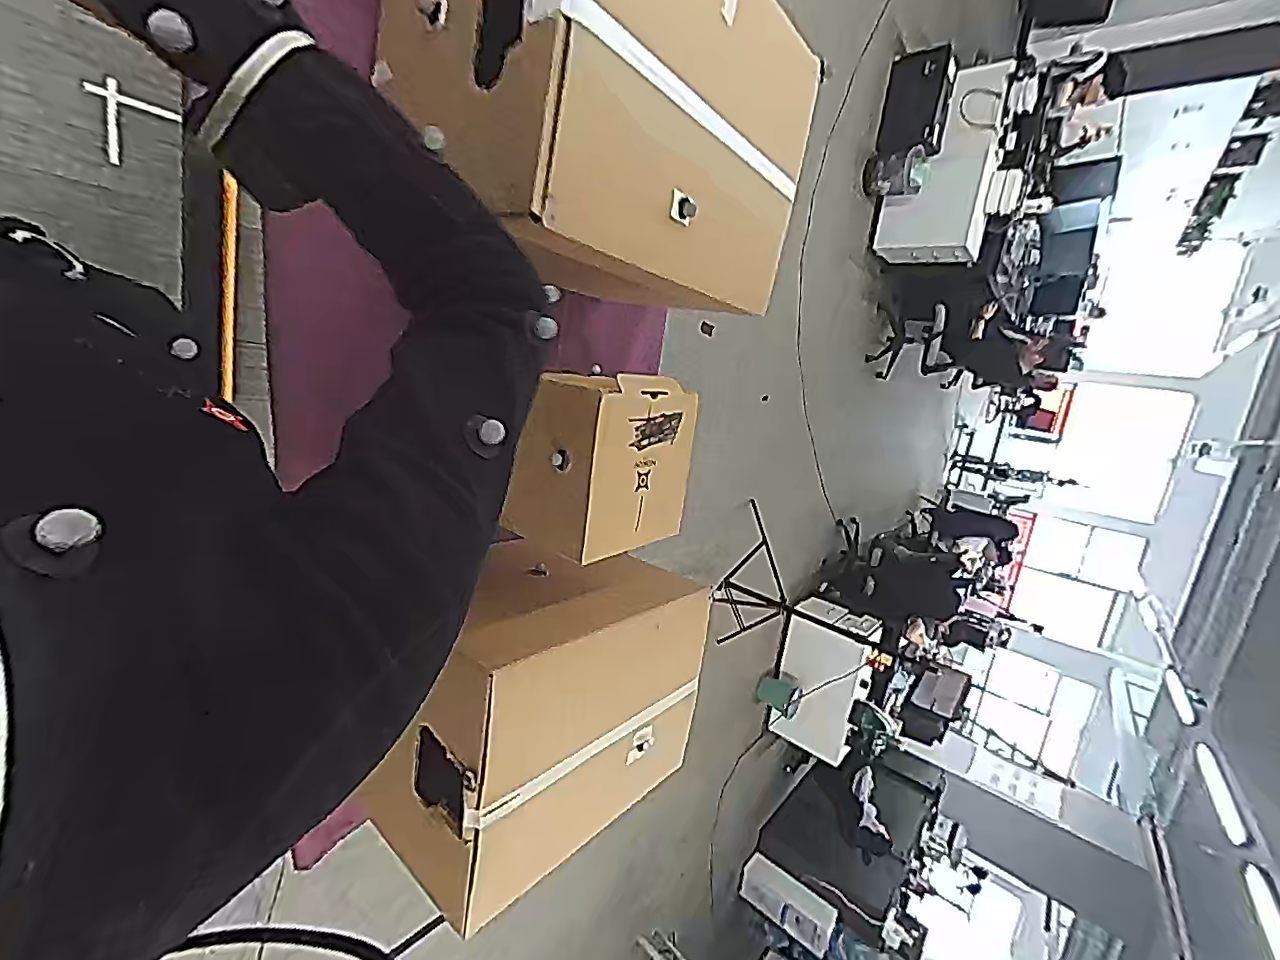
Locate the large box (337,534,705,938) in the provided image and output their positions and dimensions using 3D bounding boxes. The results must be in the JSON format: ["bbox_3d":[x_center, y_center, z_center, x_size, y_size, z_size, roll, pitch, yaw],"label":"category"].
[{"bbox_3d":[-0.159,0.286,0.773,0.408,0.320,0.320,-5,108,-53],"label":"large box"}]
